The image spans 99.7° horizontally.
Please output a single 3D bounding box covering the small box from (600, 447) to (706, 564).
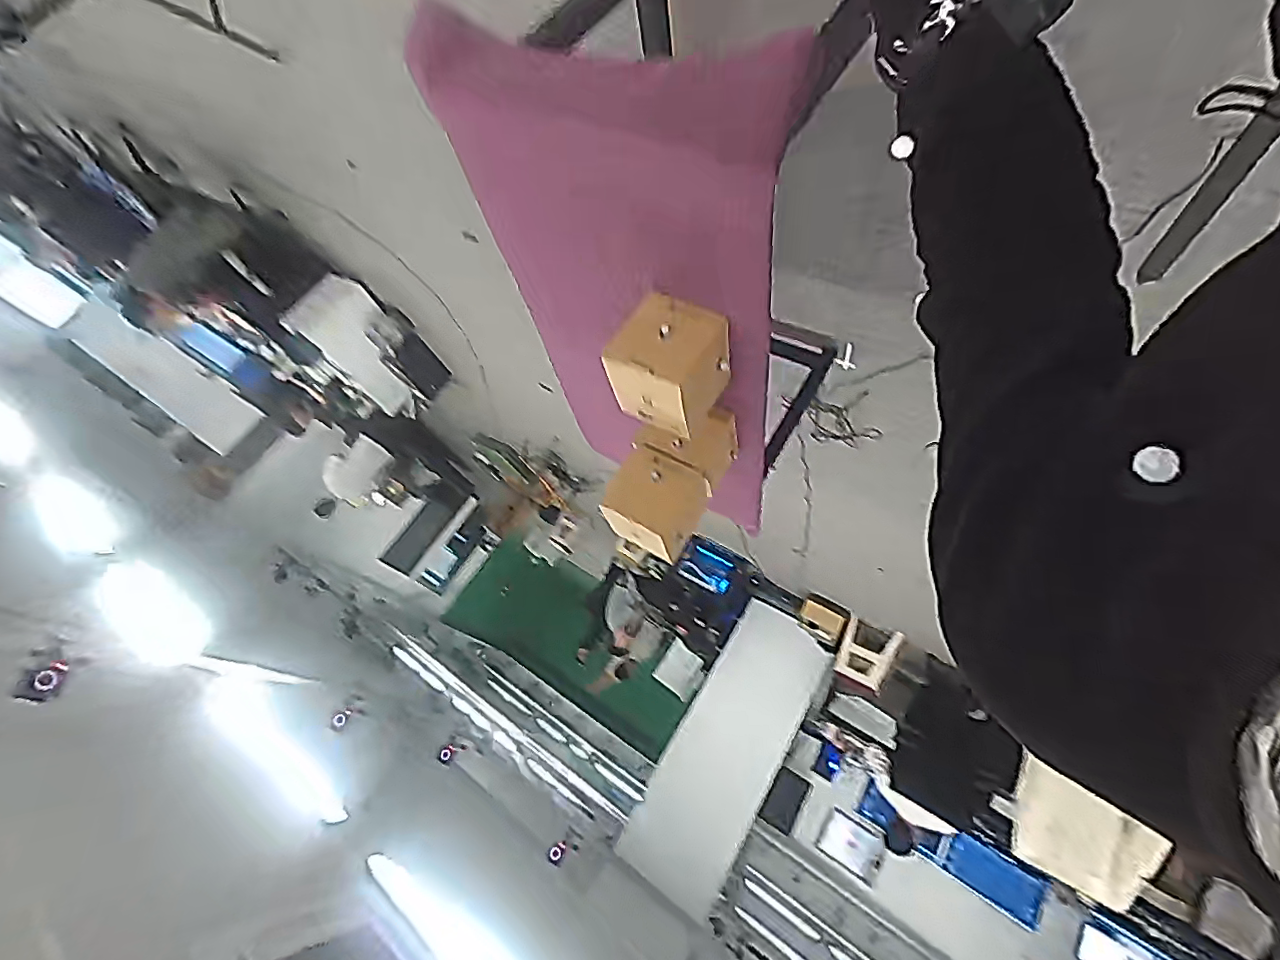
[{"bbox_3d":[0.039,0.057,1.220,0.168,0.176,0.179,26,160,23],"label":"small box"}]

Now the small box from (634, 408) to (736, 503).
[{"bbox_3d":[0.116,-0.077,1.278,0.179,0.176,0.168,26,161,26],"label":"small box"}]

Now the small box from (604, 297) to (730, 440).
[{"bbox_3d":[0.059,-0.212,1.020,0.168,0.176,0.179,26,161,22],"label":"small box"}]
